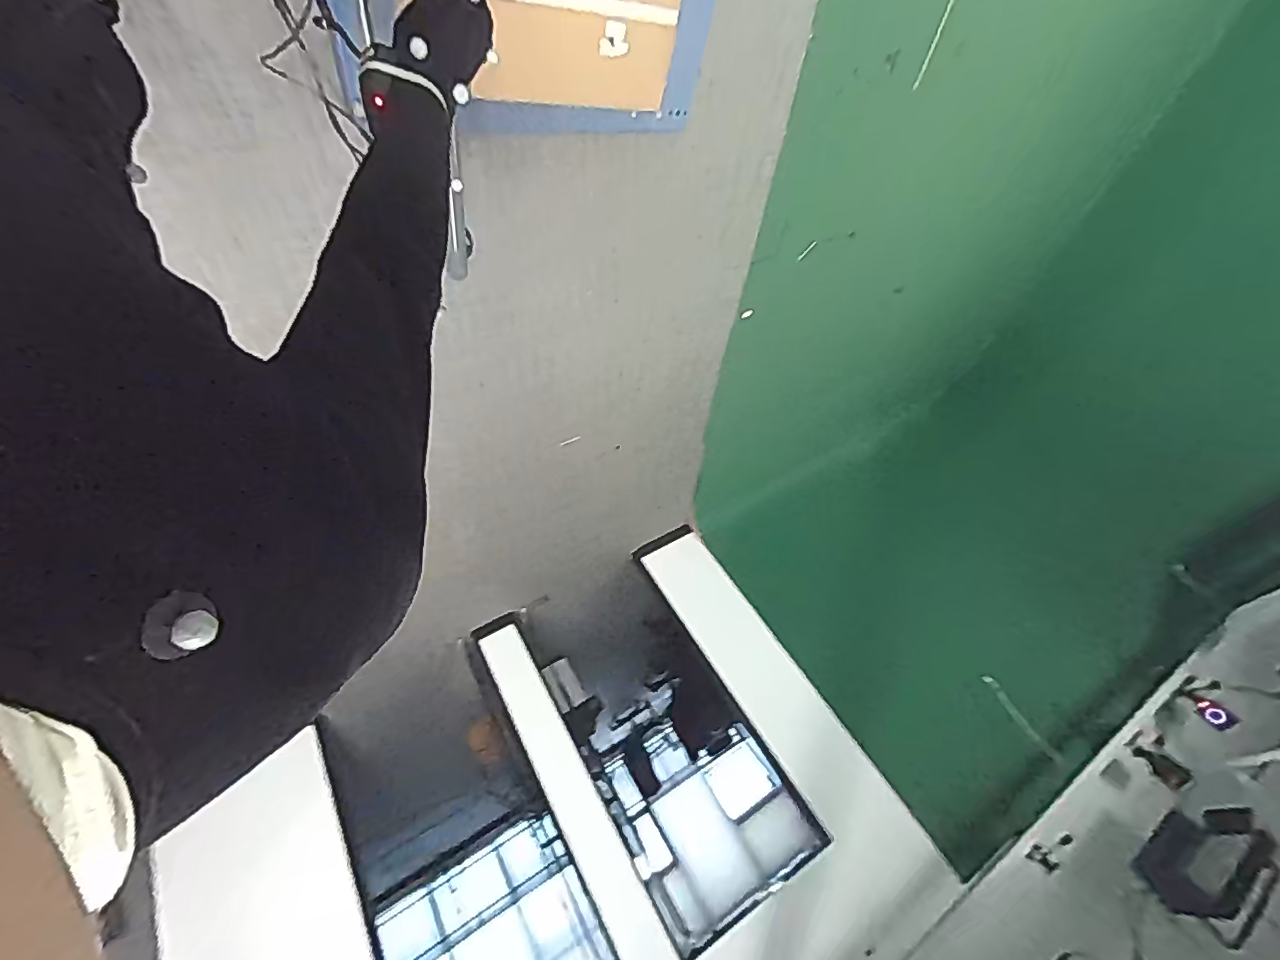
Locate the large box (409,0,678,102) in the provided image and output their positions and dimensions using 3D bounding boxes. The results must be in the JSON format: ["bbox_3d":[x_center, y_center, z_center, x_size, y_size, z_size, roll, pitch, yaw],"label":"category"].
[{"bbox_3d":[-0.178,-0.922,0.973,0.408,0.320,0.320,-19,148,-30],"label":"large box"}]
